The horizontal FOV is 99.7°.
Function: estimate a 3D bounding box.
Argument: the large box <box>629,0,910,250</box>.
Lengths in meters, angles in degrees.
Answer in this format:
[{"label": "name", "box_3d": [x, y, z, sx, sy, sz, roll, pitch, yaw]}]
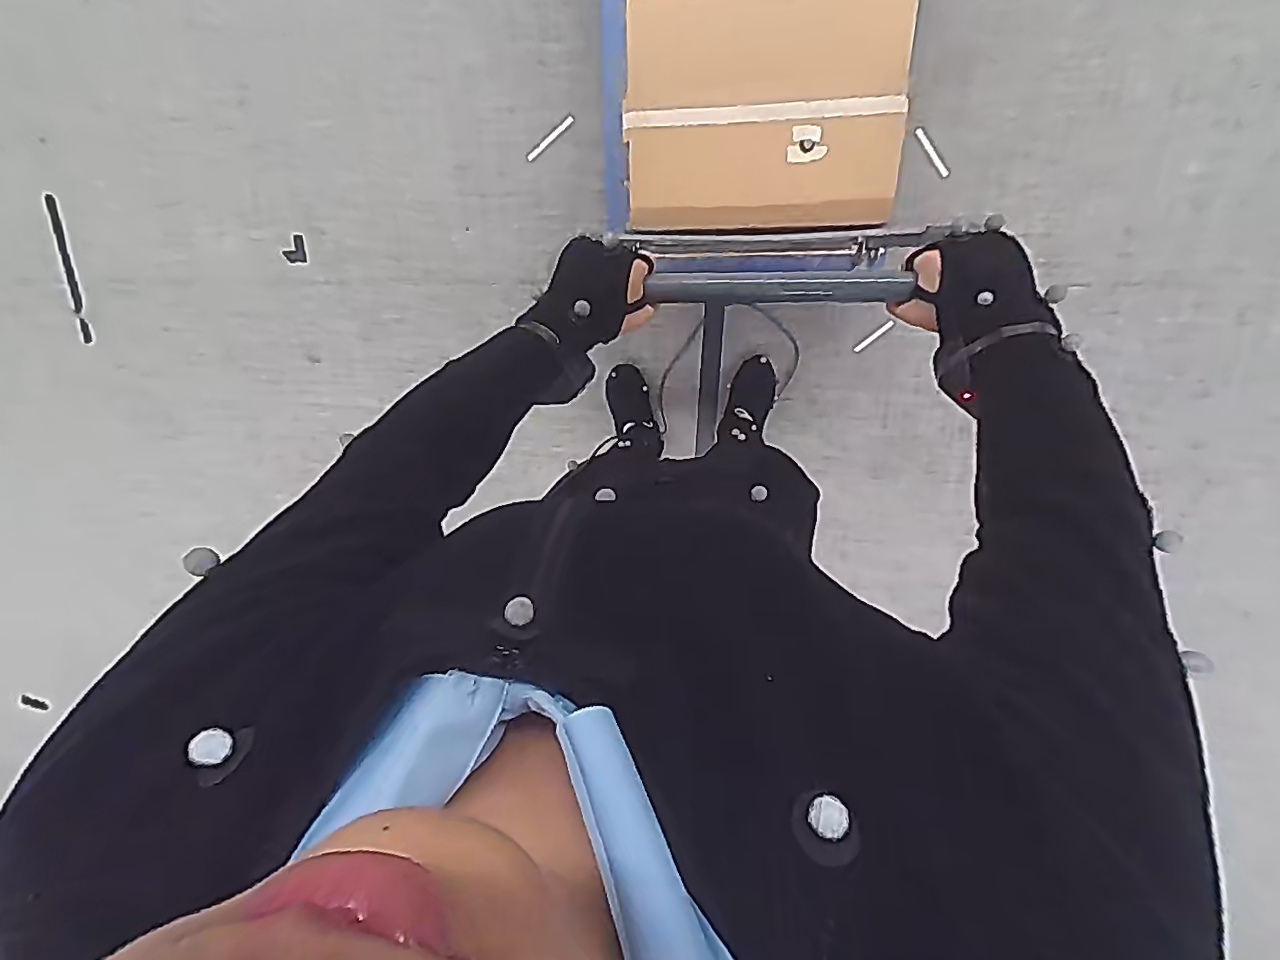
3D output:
[{"label": "large box", "box_3d": [0.200, -0.595, 0.959, 0.408, 0.320, 0.320, 1, 110, 6]}]
